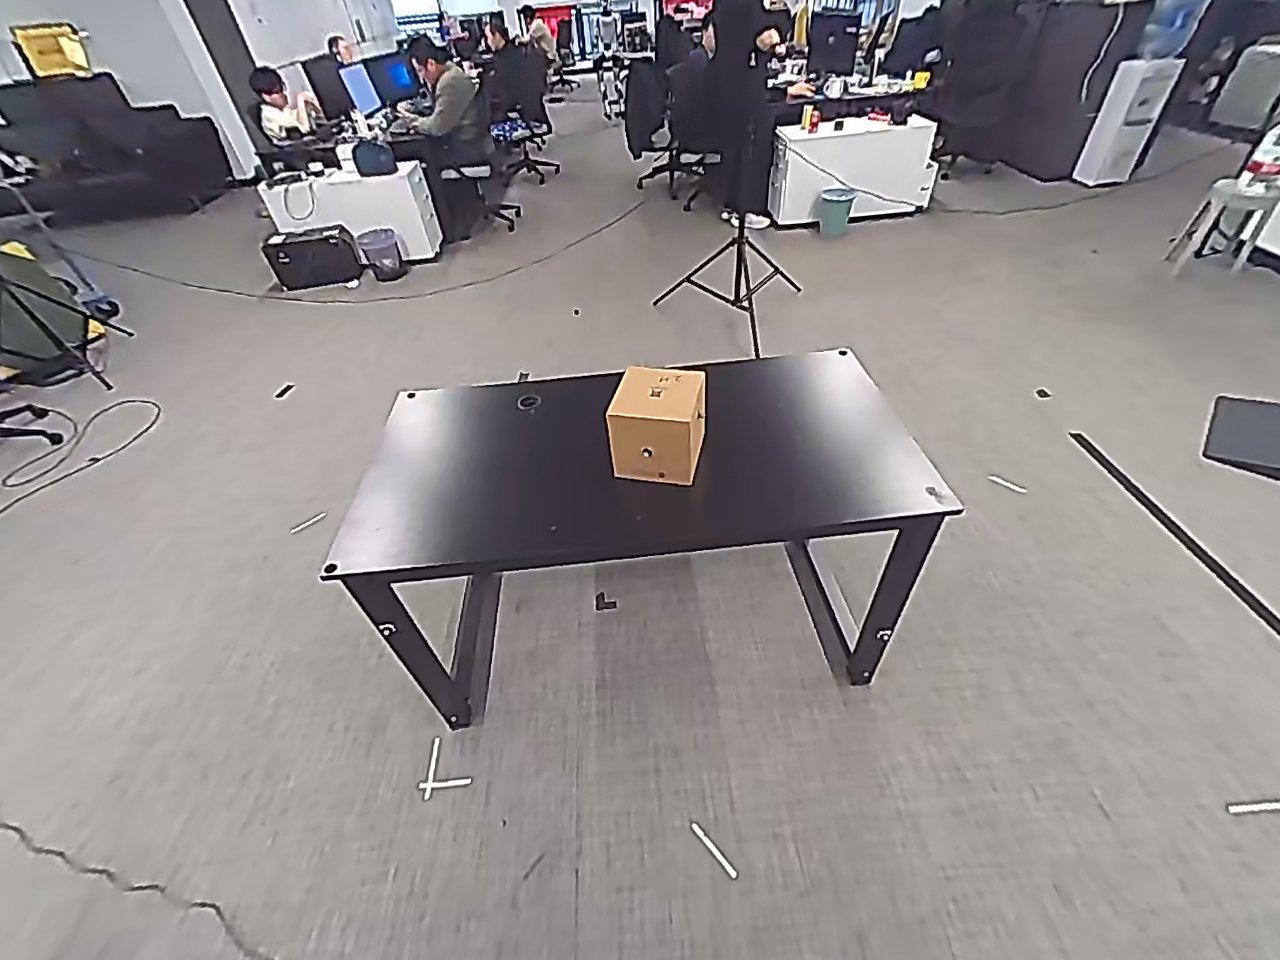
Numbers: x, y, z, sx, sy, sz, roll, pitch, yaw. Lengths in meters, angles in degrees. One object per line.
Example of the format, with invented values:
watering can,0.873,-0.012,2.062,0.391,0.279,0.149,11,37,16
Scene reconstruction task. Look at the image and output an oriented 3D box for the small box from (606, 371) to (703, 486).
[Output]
small box,0.039,-0.108,1.141,0.168,0.176,0.179,7,44,13
